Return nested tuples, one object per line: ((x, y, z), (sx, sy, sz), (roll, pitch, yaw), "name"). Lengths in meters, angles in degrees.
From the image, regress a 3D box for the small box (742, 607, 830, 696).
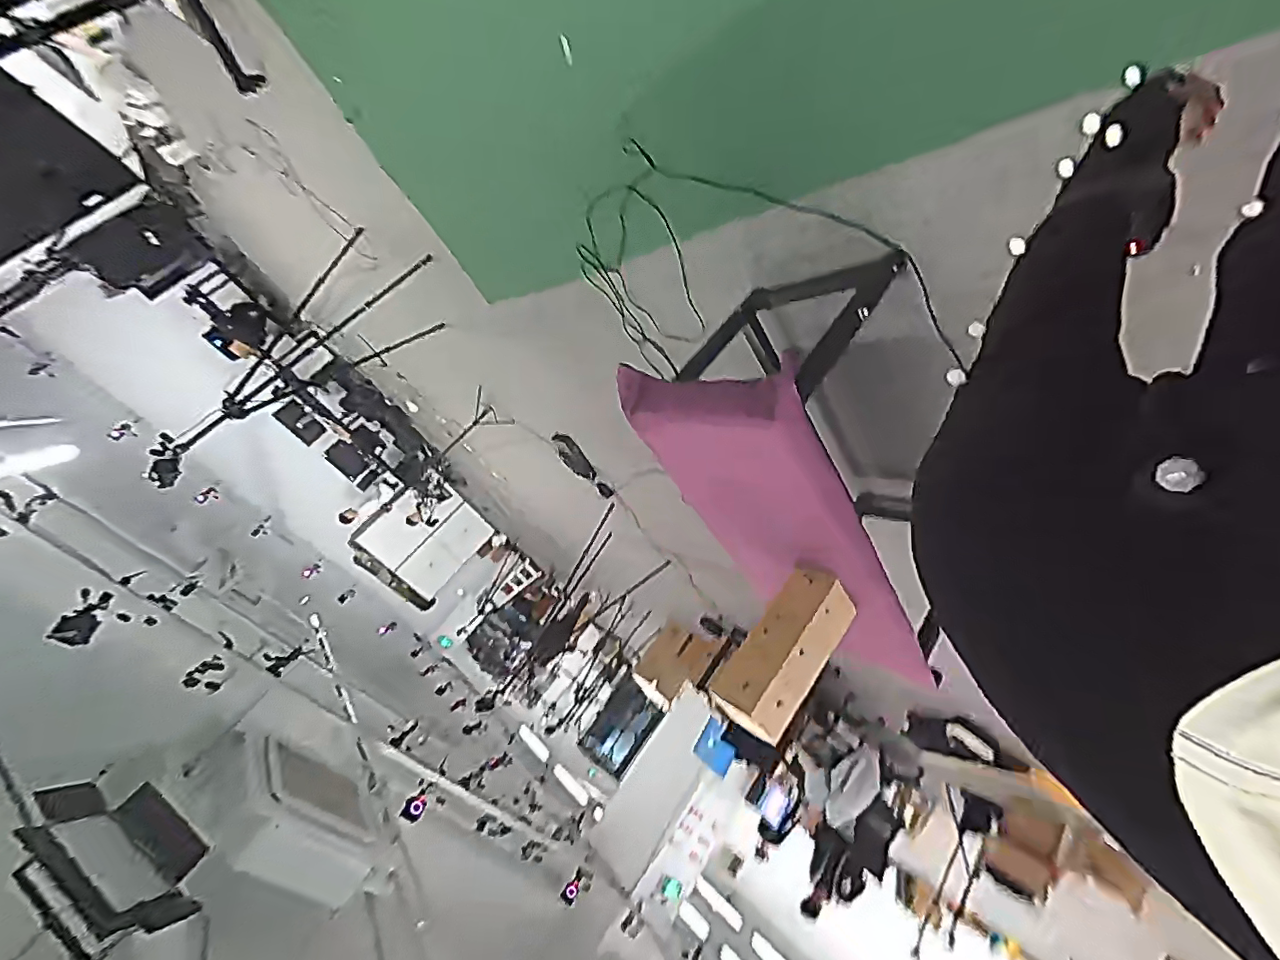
((0.451, 0.518, 1.662), (0.168, 0.176, 0.179), (10, 143, 54), "small box")

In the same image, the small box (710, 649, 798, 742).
((0.347, 0.632, 1.609), (0.179, 0.176, 0.168), (9, 141, 55), "small box")
